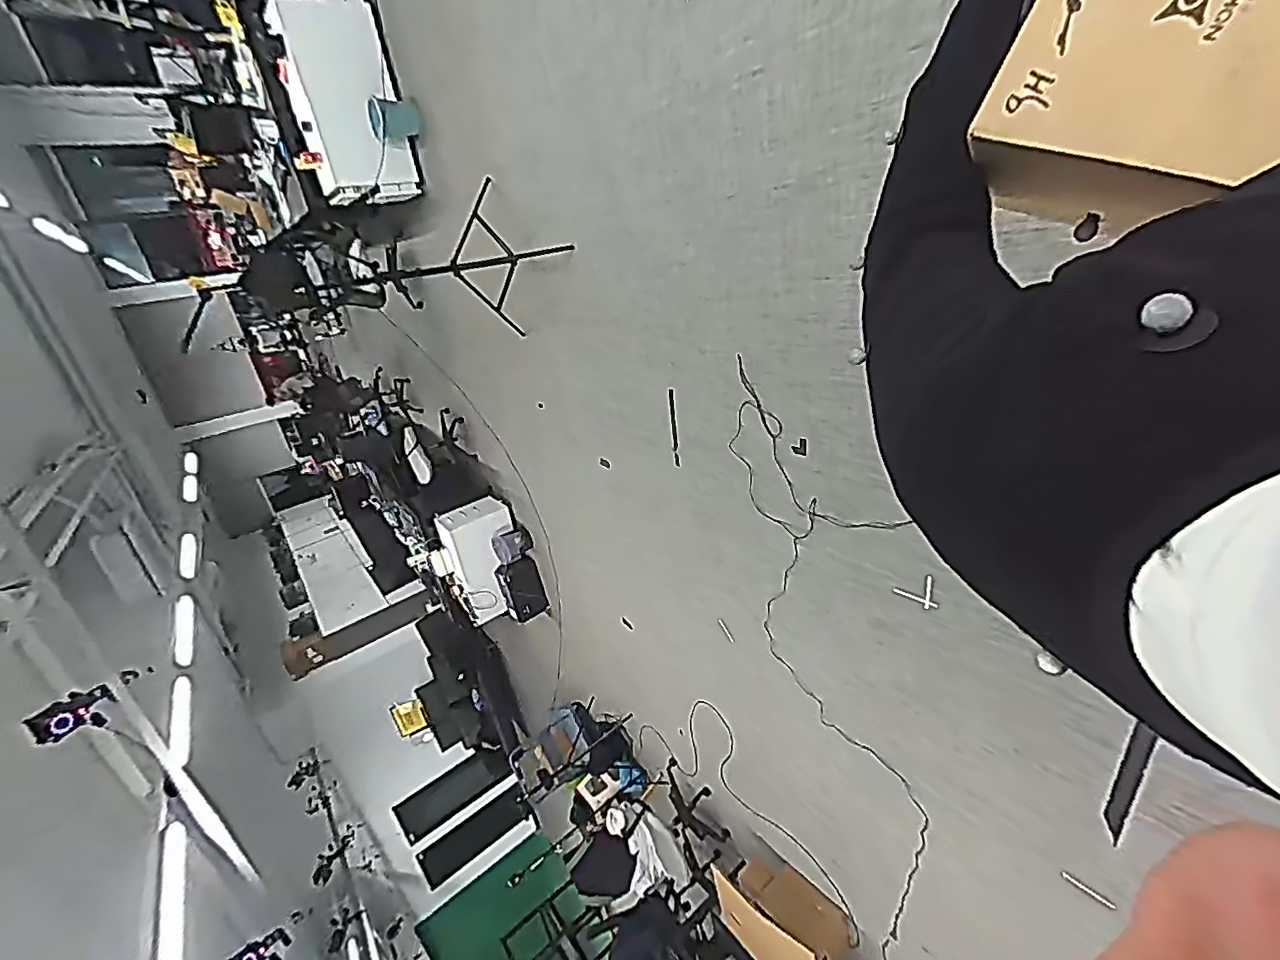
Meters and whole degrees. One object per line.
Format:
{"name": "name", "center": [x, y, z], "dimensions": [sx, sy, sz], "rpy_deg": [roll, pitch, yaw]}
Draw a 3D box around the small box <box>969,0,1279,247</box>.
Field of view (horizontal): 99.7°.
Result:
{"name": "small box", "center": [0.365, -0.275, 0.369], "dimensions": [0.179, 0.176, 0.168], "rpy_deg": [34, 115, 27]}
